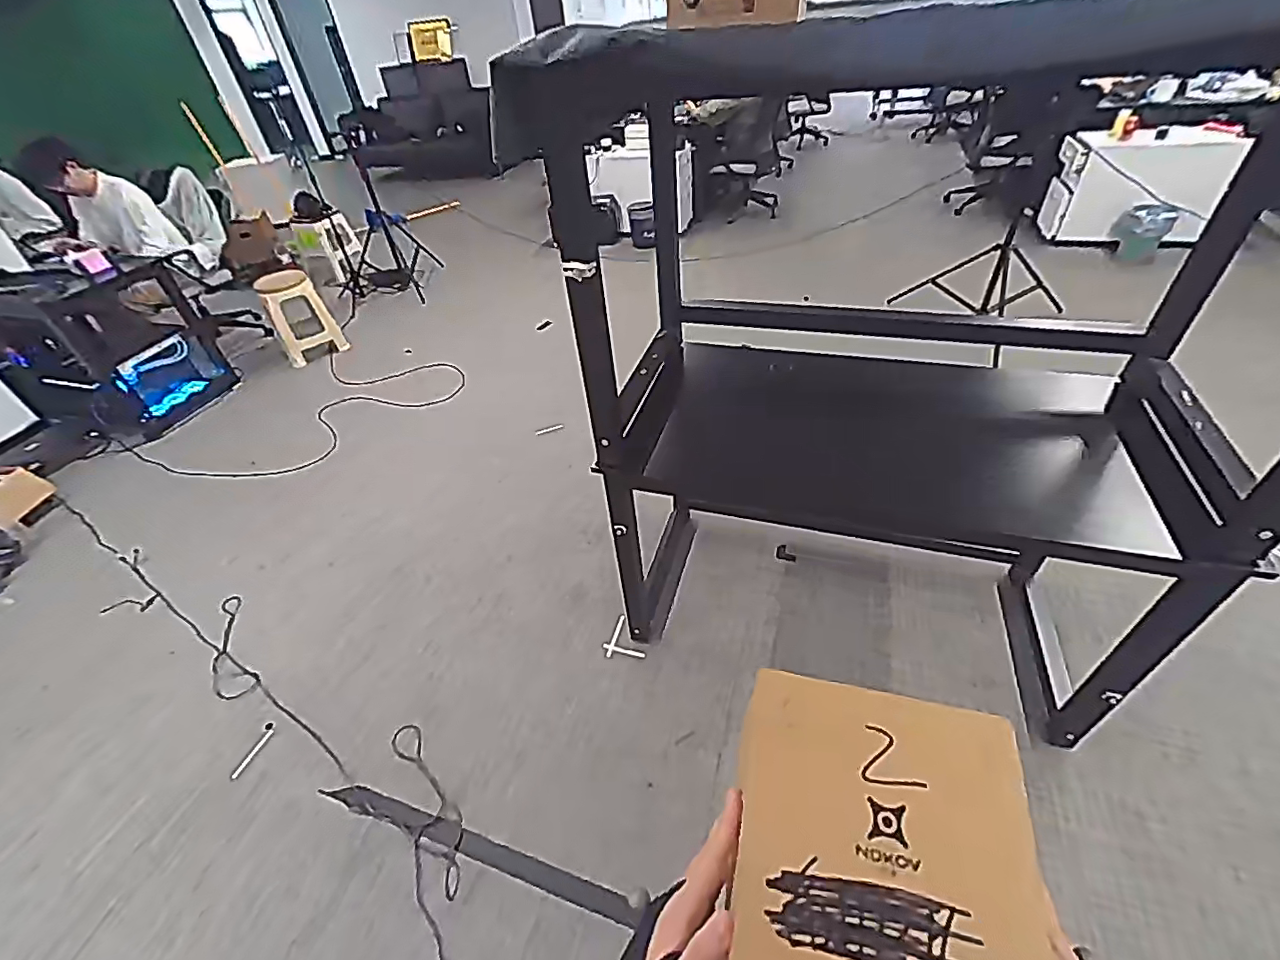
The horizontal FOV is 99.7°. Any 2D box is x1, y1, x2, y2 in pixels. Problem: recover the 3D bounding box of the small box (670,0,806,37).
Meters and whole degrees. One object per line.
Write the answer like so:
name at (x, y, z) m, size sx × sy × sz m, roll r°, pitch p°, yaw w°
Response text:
small box at (0.132, -0.677, 0.684) m, size 0.168 × 0.176 × 0.179 m, roll 8°, pitch 41°, yaw 14°
